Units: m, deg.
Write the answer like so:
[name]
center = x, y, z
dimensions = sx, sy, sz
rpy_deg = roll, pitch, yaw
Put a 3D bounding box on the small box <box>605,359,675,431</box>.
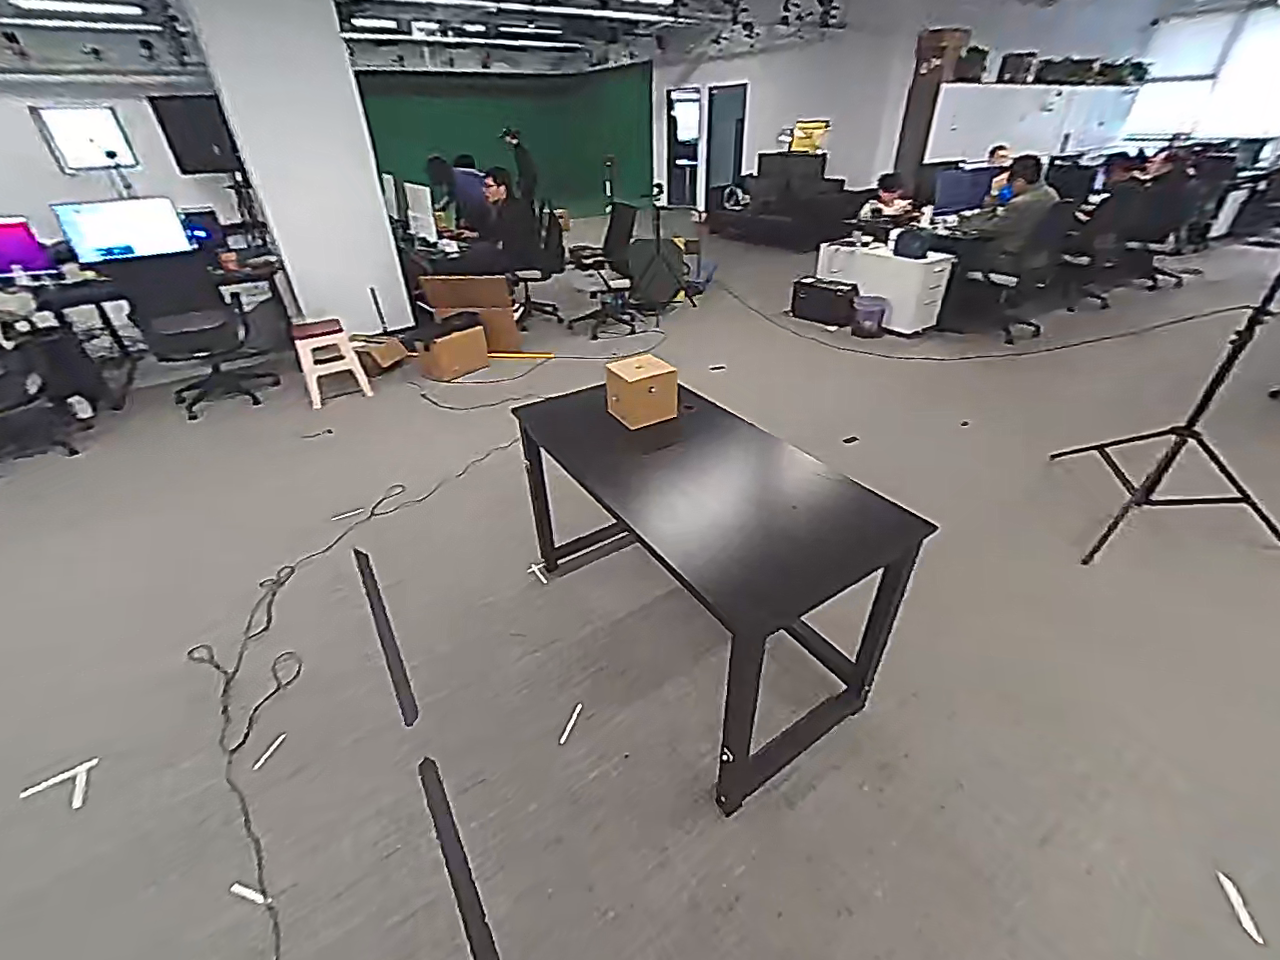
[small box]
center = 0.002, -0.278, 1.776
dimensions = 0.179, 0.176, 0.168
rpy_deg = -19, 37, -24
